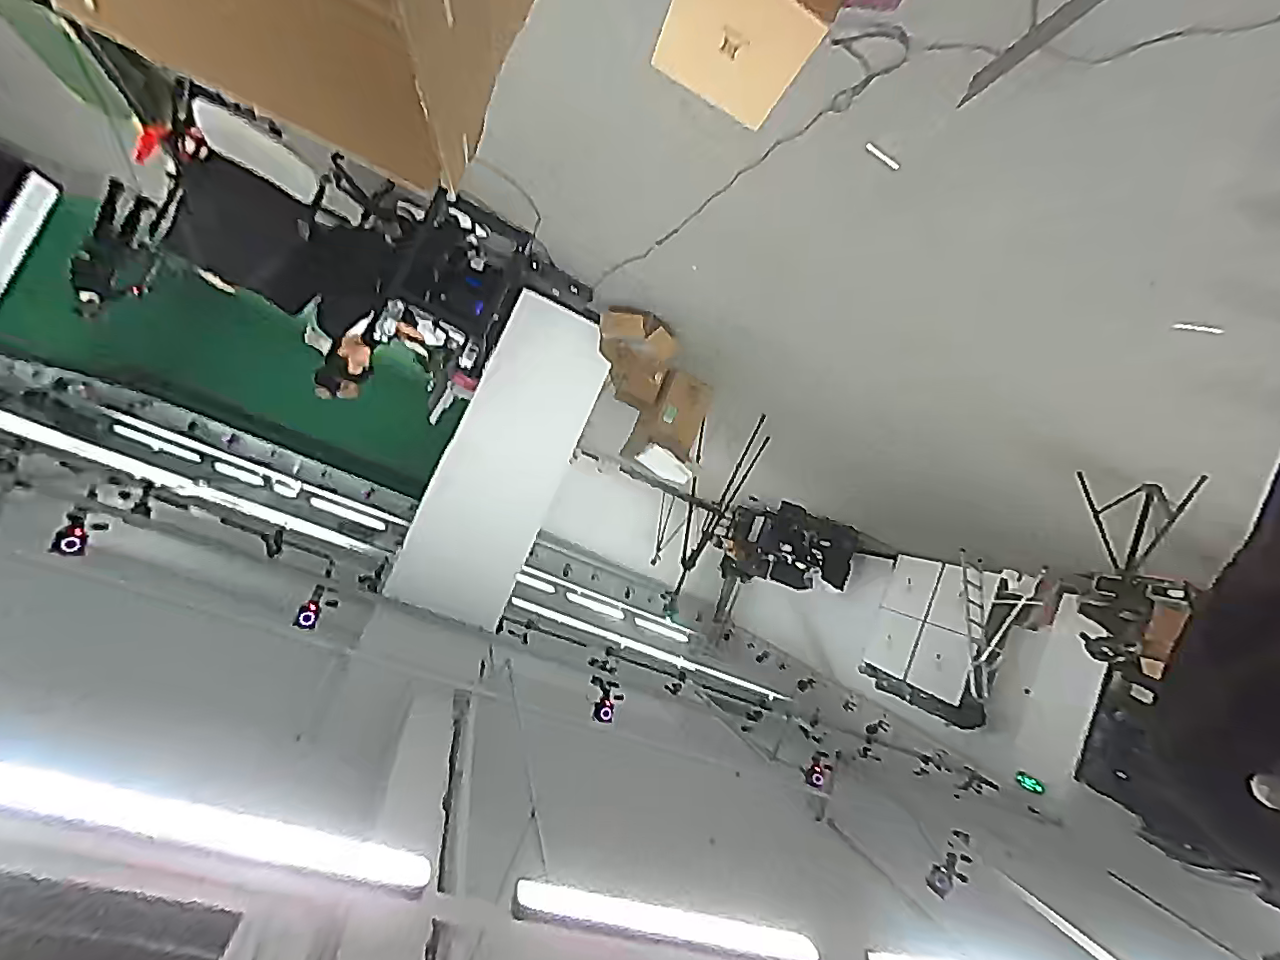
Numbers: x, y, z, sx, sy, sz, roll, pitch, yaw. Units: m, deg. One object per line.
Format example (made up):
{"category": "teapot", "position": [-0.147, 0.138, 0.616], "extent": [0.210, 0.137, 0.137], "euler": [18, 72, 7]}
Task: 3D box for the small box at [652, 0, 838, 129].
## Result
{"category": "small box", "position": [0.139, -0.579, 0.637], "extent": [0.168, 0.176, 0.179], "euler": [25, 173, -12]}
